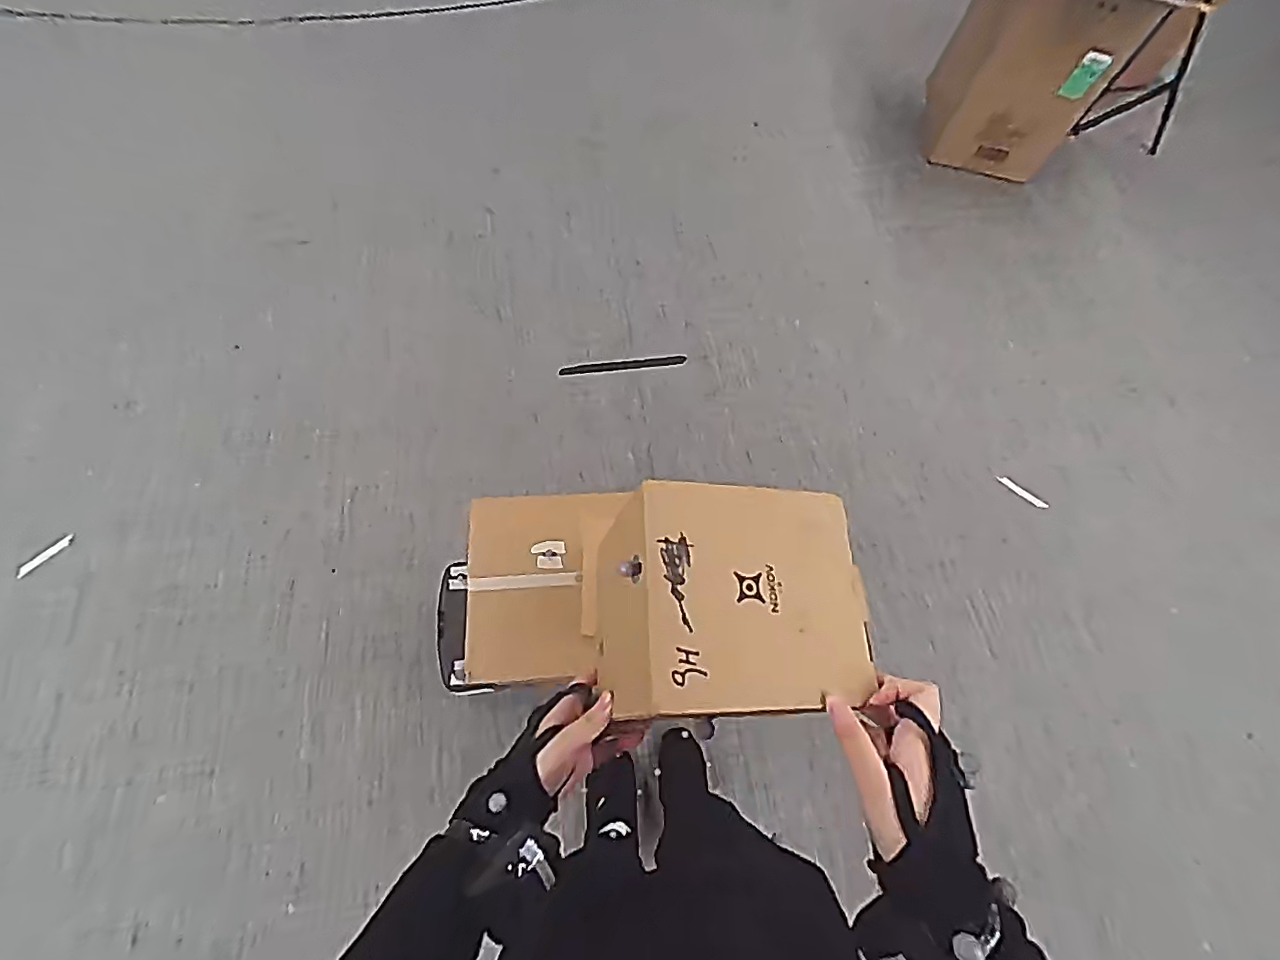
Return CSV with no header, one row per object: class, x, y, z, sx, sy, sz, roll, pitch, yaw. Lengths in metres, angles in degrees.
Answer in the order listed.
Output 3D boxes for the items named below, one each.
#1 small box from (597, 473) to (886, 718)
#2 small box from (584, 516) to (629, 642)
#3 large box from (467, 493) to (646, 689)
small box,0.068,0.109,0.463,0.179,0.176,0.168,5,63,-16
small box,0.005,0.158,0.825,0.179,0.176,0.168,1,69,-4
large box,-0.094,0.227,1.054,0.408,0.320,0.320,-3,68,-5
